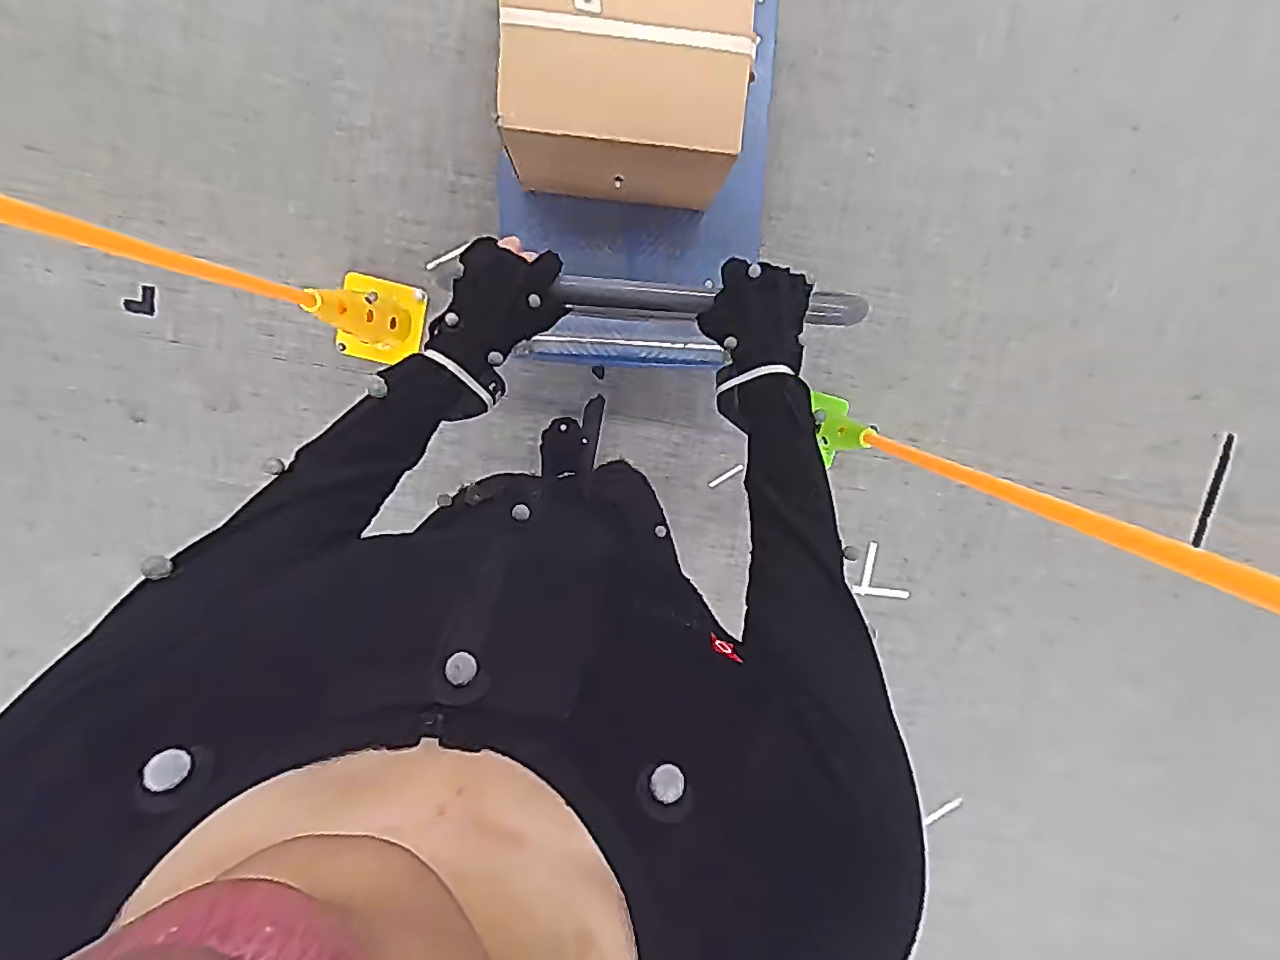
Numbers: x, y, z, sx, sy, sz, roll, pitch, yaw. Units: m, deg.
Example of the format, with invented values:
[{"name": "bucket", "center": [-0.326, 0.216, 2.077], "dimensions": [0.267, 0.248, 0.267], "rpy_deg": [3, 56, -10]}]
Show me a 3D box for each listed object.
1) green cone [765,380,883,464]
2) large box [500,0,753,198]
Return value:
[{"name": "green cone", "center": [0.468, -0.124, 1.301], "dimensions": [0.202, 0.368, 0.200], "rpy_deg": [13, 99, -8]}, {"name": "large box", "center": [-0.027, -0.747, 1.007], "dimensions": [0.408, 0.320, 0.320], "rpy_deg": [4, 101, -4]}]
